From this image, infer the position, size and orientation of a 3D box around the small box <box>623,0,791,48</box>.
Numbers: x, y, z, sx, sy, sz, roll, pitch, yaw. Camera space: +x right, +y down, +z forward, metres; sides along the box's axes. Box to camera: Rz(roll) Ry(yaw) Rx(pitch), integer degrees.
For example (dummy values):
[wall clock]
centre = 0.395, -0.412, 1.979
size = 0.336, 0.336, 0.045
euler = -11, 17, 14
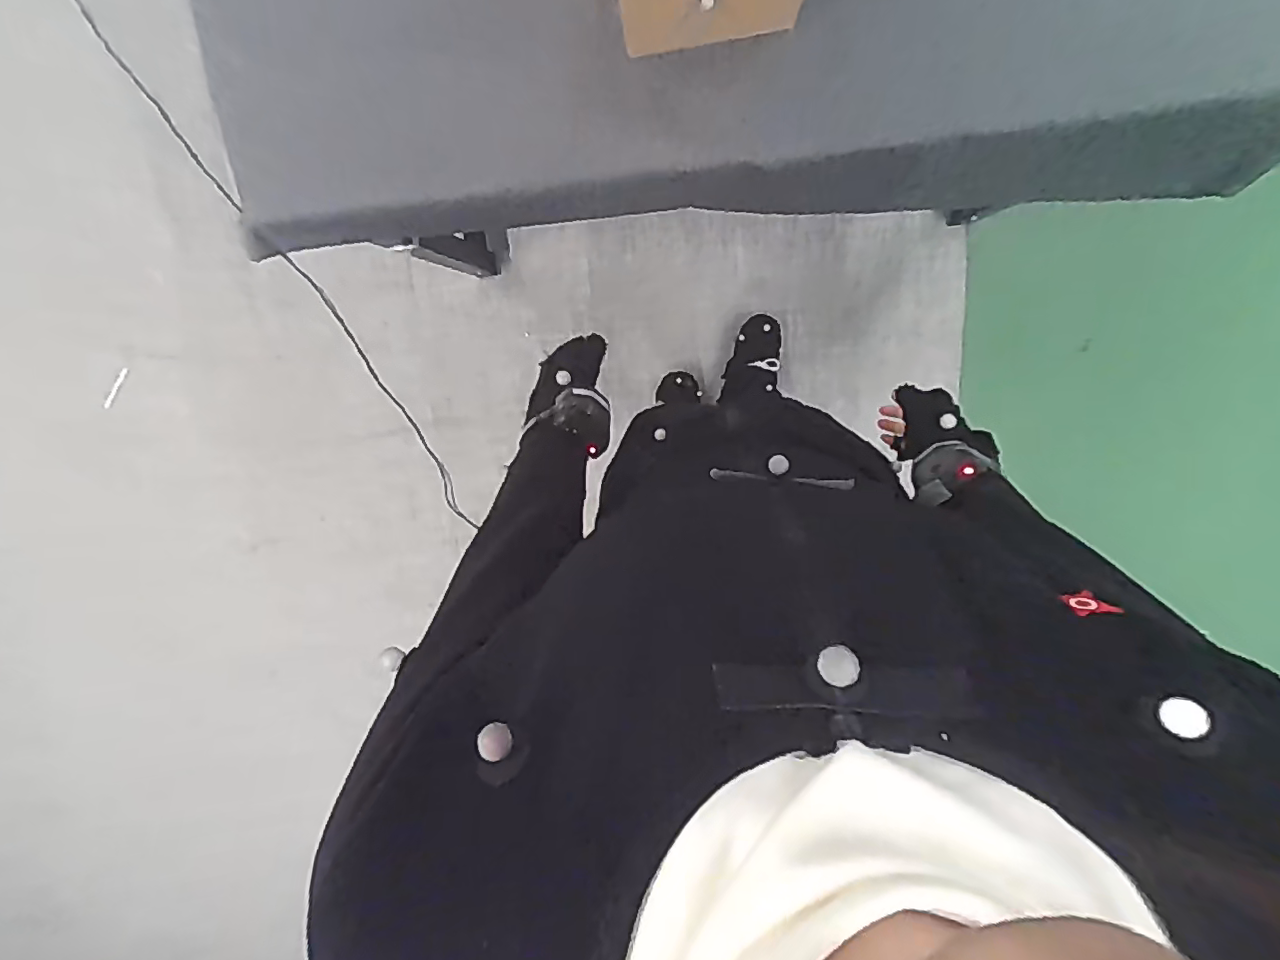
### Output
[small box]
centre = 0.061, -0.524, 0.470
size = 0.179, 0.176, 0.168
euler = -9, 104, 5
